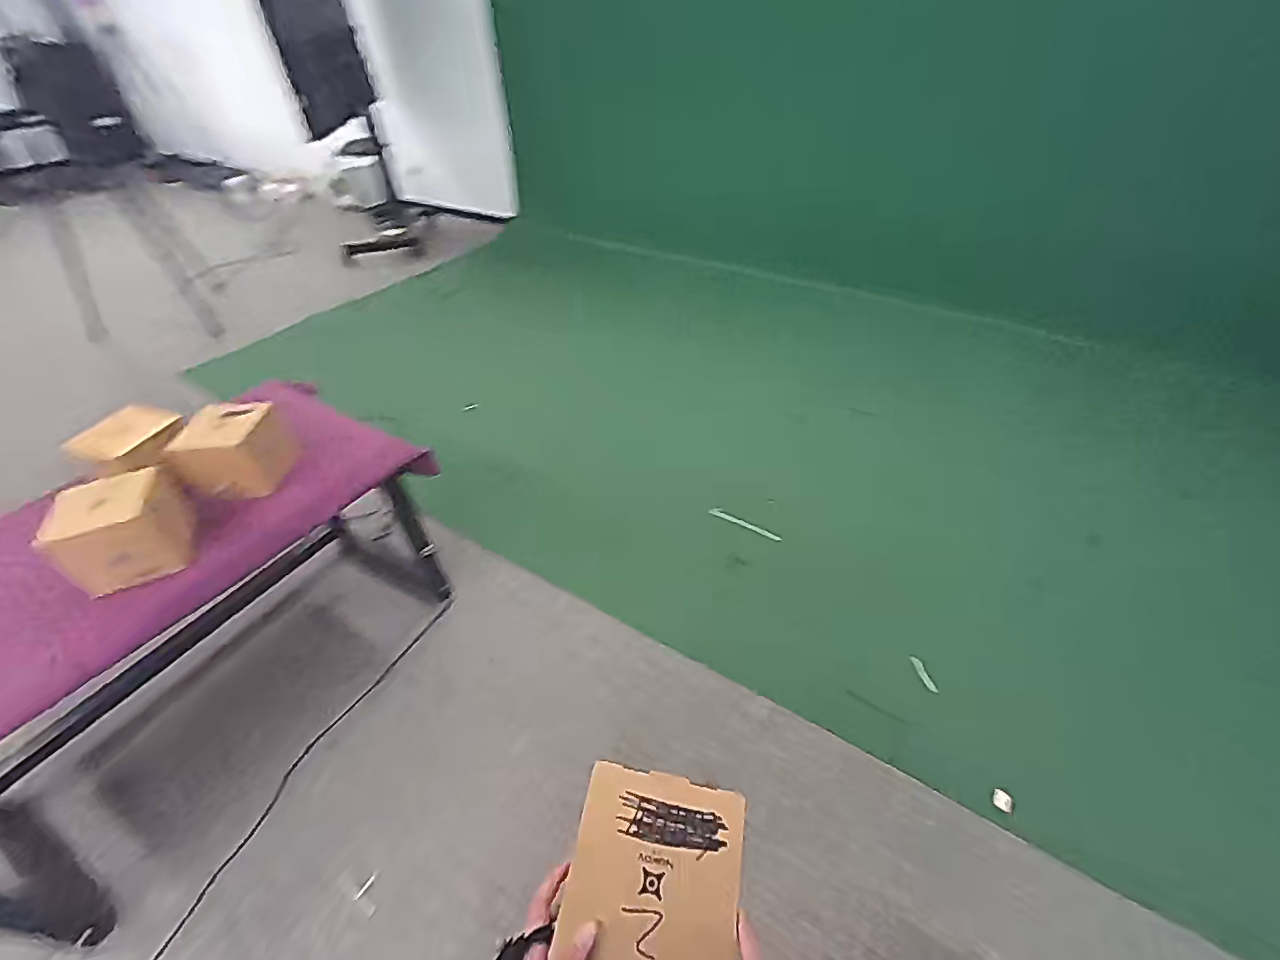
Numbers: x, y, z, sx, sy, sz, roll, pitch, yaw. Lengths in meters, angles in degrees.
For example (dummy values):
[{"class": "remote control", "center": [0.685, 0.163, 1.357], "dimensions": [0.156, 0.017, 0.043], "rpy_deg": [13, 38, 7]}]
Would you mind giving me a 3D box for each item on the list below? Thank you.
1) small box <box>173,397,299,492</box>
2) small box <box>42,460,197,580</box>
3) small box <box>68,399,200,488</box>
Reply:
[{"class": "small box", "center": [-0.994, -0.089, 1.354], "dimensions": [0.168, 0.176, 0.179], "rpy_deg": [-3, 44, -1]}, {"class": "small box", "center": [-1.094, 0.091, 1.158], "dimensions": [0.168, 0.176, 0.179], "rpy_deg": [-18, 45, -18]}, {"class": "small box", "center": [-1.227, -0.076, 1.349], "dimensions": [0.179, 0.176, 0.168], "rpy_deg": [11, 45, 13]}]
